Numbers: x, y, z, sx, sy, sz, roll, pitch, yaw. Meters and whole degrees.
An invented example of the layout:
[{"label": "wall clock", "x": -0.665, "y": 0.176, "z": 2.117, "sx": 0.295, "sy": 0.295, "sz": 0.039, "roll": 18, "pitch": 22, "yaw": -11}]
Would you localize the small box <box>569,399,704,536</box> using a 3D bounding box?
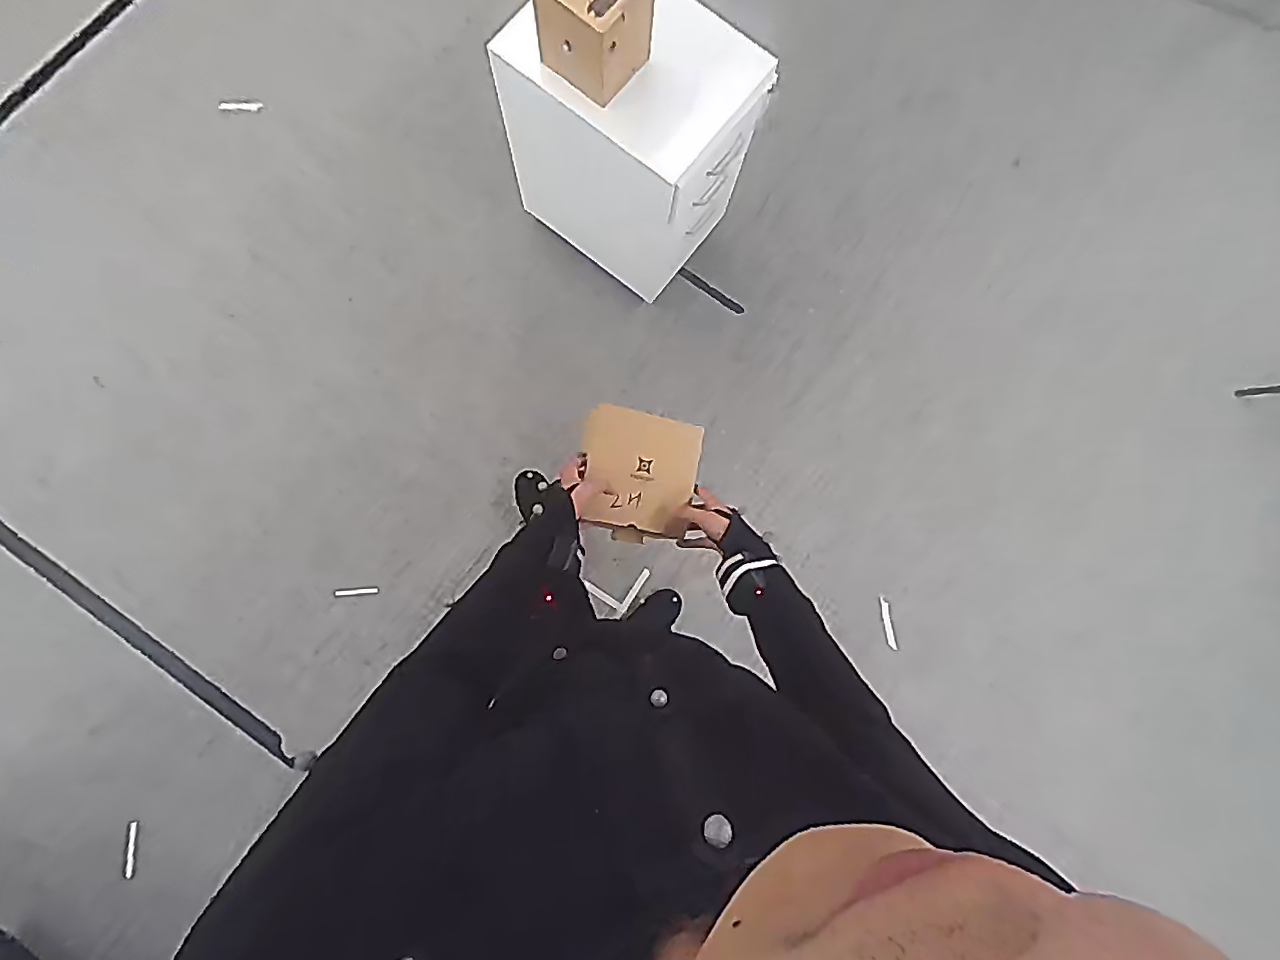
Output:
[{"label": "small box", "x": -0.013, "y": -0.011, "z": 0.872, "sx": 0.168, "sy": 0.176, "sz": 0.179, "roll": 13, "pitch": 83, "yaw": -12}]
